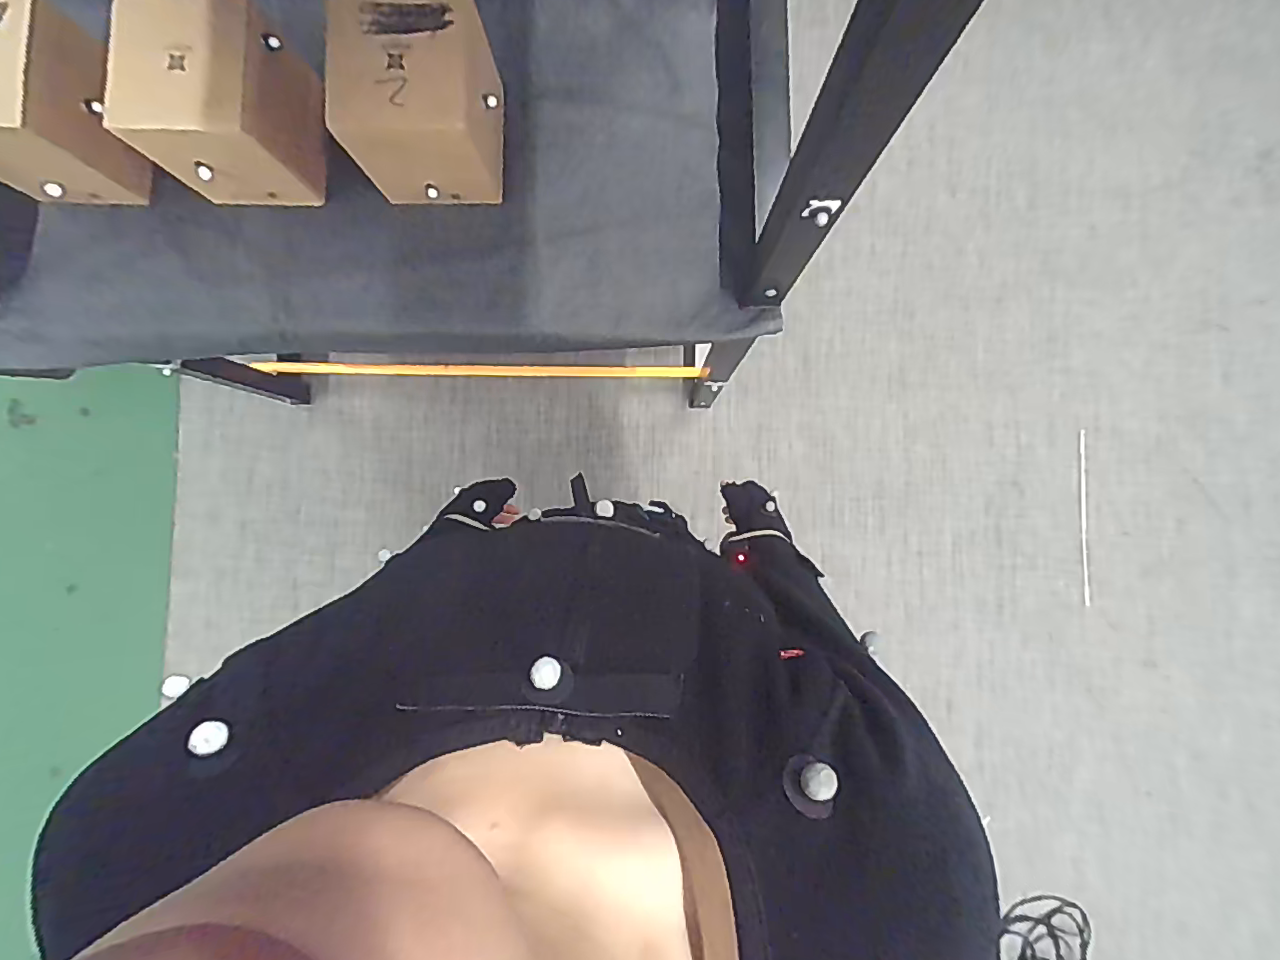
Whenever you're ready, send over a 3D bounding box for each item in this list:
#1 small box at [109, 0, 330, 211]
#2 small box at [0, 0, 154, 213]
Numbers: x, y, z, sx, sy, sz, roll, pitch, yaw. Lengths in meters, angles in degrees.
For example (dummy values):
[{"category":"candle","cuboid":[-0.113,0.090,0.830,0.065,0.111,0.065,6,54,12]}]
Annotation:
[{"category":"small box","cuboid":[-0.542,-0.483,0.721,0.168,0.176,0.179,1,87,0]},{"category":"small box","cuboid":[-0.795,-0.487,0.720,0.168,0.176,0.179,1,88,1]}]
